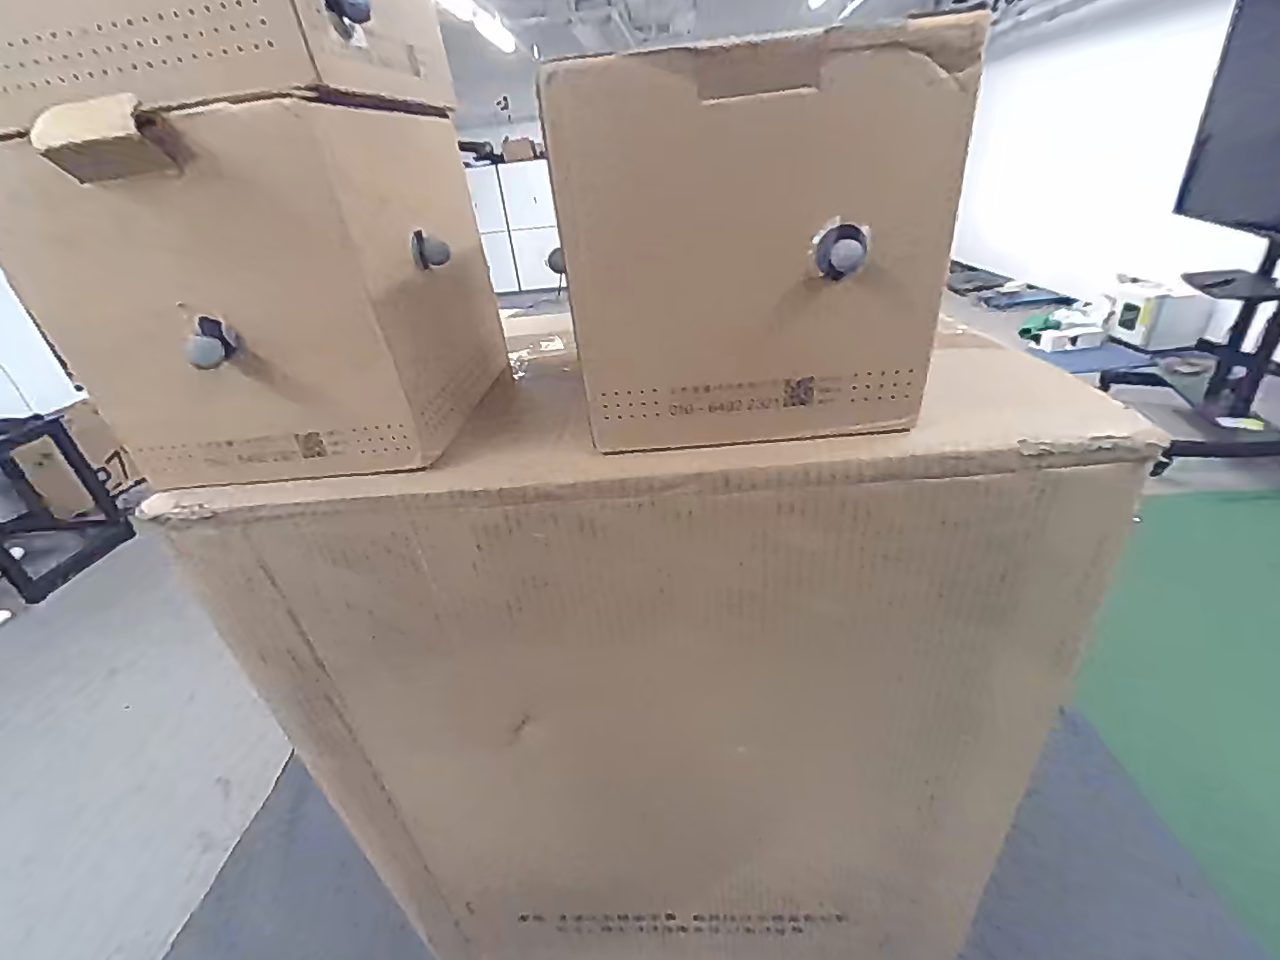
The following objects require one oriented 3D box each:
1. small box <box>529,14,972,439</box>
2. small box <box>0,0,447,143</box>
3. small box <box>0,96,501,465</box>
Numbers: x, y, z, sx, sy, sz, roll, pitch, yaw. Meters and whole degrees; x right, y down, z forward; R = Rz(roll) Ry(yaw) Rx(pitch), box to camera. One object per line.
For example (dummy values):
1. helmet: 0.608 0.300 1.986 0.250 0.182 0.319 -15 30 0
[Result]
1. small box: 0.049 -0.130 0.307 0.168 0.176 0.179 -2 31 4
2. small box: -0.214 -0.260 0.248 0.179 0.176 0.168 -4 31 6
3. small box: -0.198 -0.117 0.330 0.168 0.176 0.179 -3 32 6
